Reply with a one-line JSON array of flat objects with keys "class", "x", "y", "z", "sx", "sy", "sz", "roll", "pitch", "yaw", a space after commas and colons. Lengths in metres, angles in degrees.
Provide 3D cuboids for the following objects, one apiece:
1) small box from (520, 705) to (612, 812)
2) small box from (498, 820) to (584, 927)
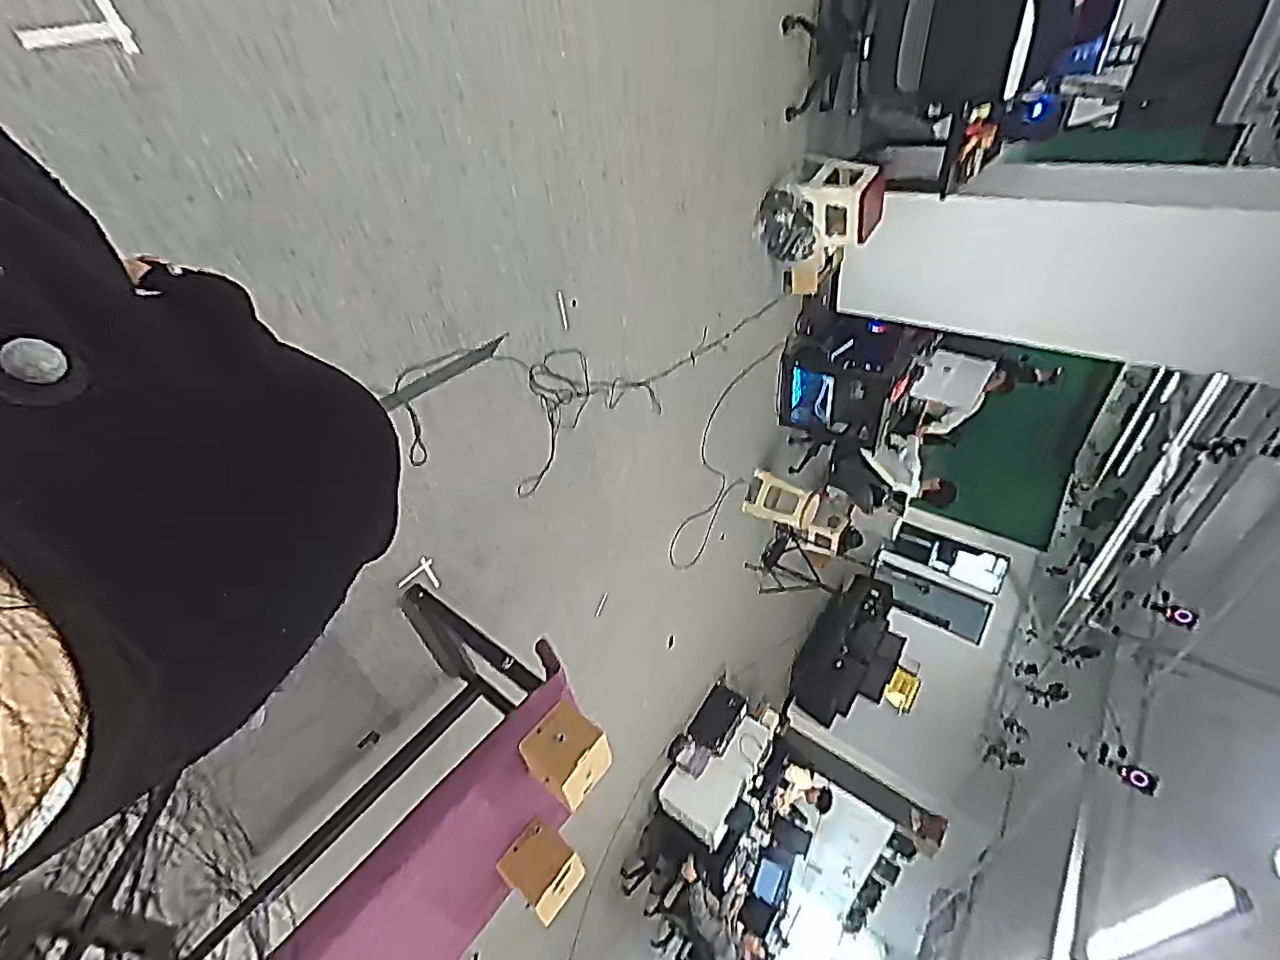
[{"class": "small box", "x": -0.202, "y": 0.745, "z": 1.468, "sx": 0.168, "sy": 0.176, "sz": 0.179, "roll": -40, "pitch": 139, "yaw": -35}, {"class": "small box", "x": -0.290, "y": 1.143, "z": 1.583, "sx": 0.168, "sy": 0.176, "sz": 0.179, "roll": -40, "pitch": 138, "yaw": -36}]
